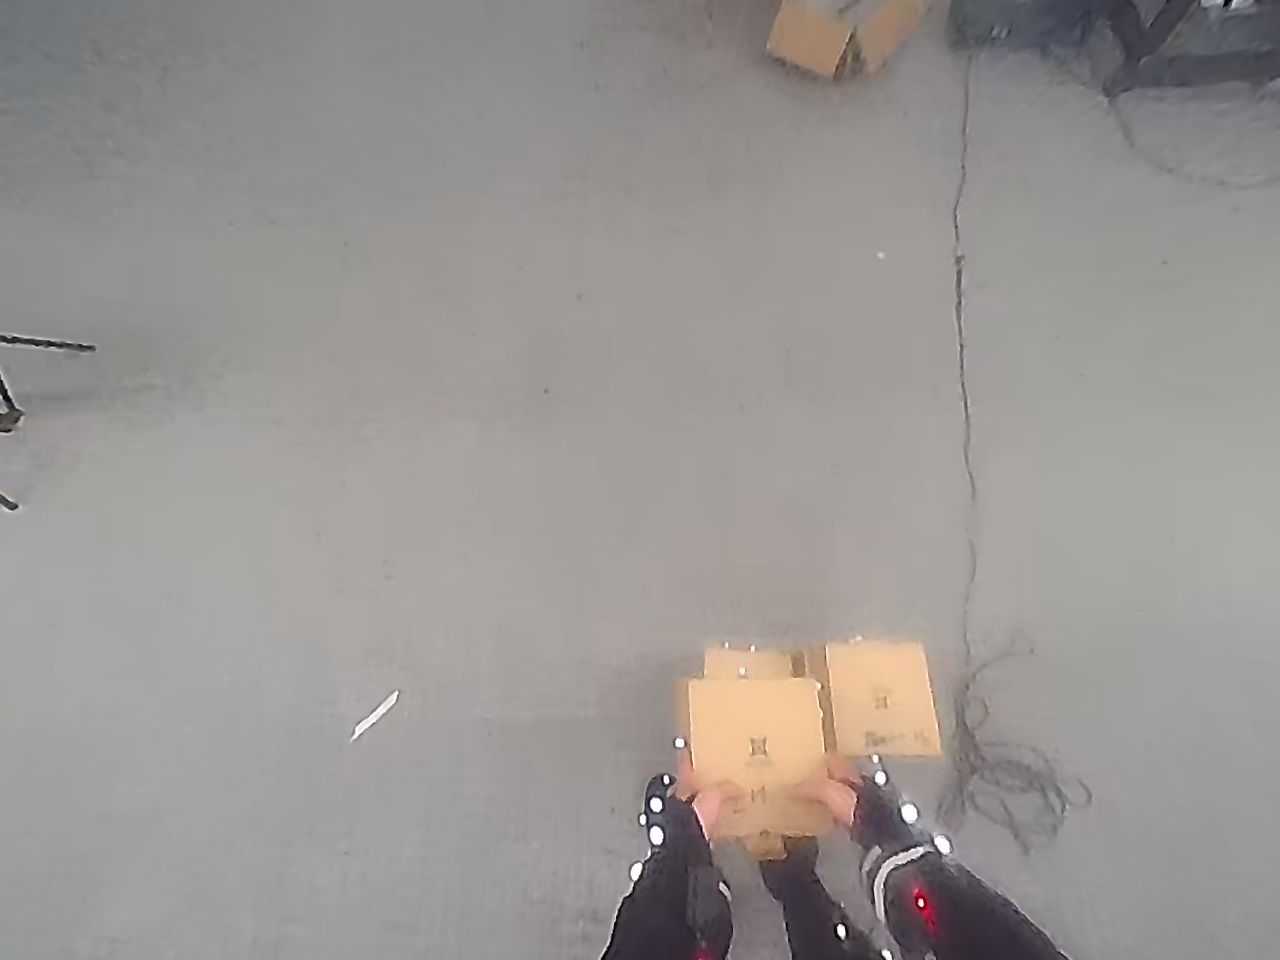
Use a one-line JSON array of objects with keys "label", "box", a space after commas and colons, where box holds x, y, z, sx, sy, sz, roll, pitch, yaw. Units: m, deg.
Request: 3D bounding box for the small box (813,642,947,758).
[{"label": "small box", "box": [0.412, 0.387, 0.961, 0.168, 0.176, 0.179, -3, 69, 7]}]

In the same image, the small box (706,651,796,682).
[{"label": "small box", "box": [0.227, 0.453, 1.136, 0.179, 0.176, 0.168, 2, 71, 9]}]

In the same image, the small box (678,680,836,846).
[{"label": "small box", "box": [0.142, 0.362, 0.721, 0.168, 0.176, 0.179, -1, 71, -1]}]
